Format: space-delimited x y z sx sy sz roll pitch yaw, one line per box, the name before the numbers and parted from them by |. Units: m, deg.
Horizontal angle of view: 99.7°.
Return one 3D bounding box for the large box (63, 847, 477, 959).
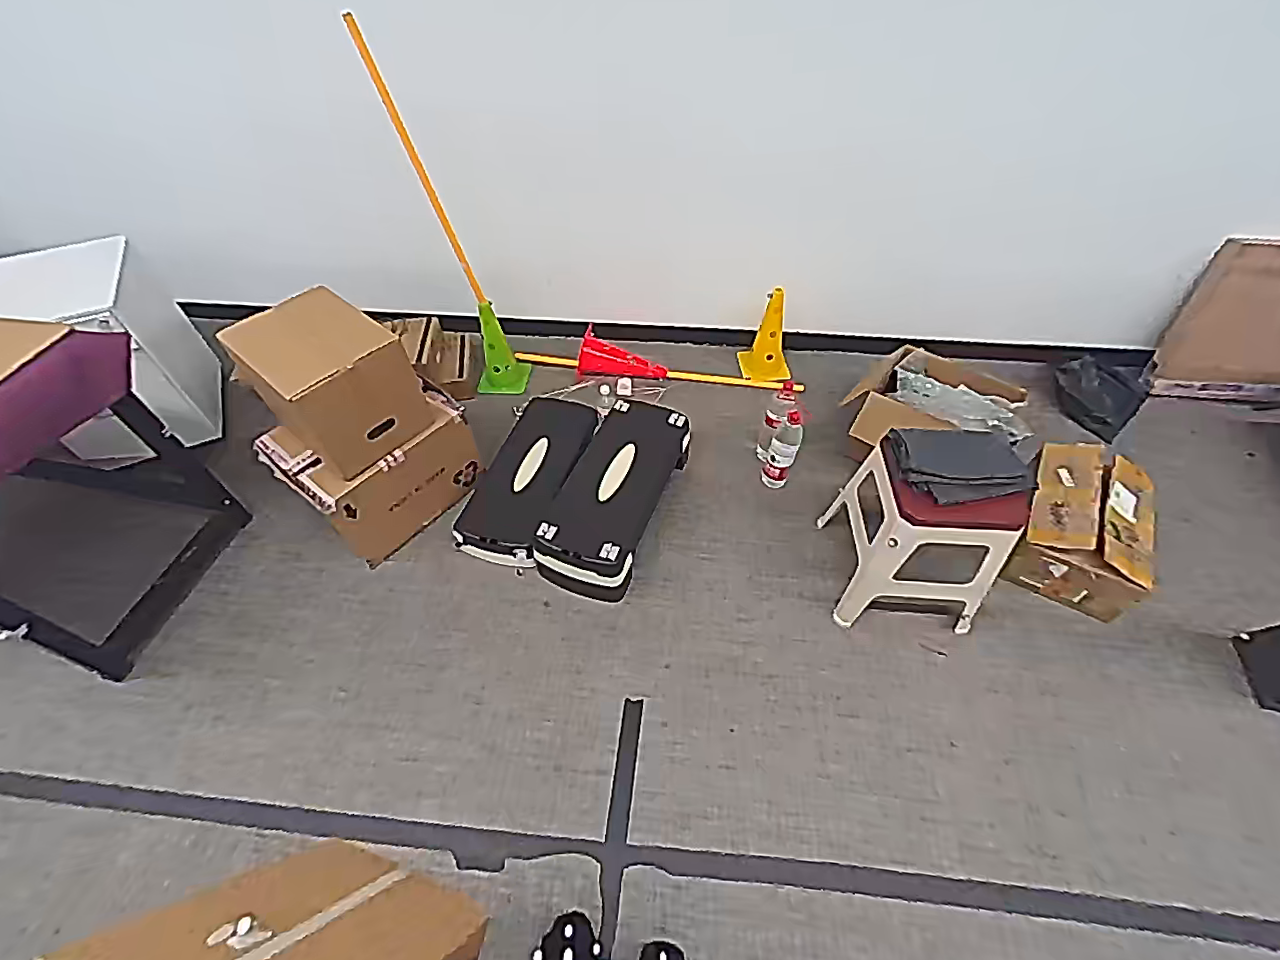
large box | -0.466 0.723 0.644 0.320 0.408 0.320 11 74 16
